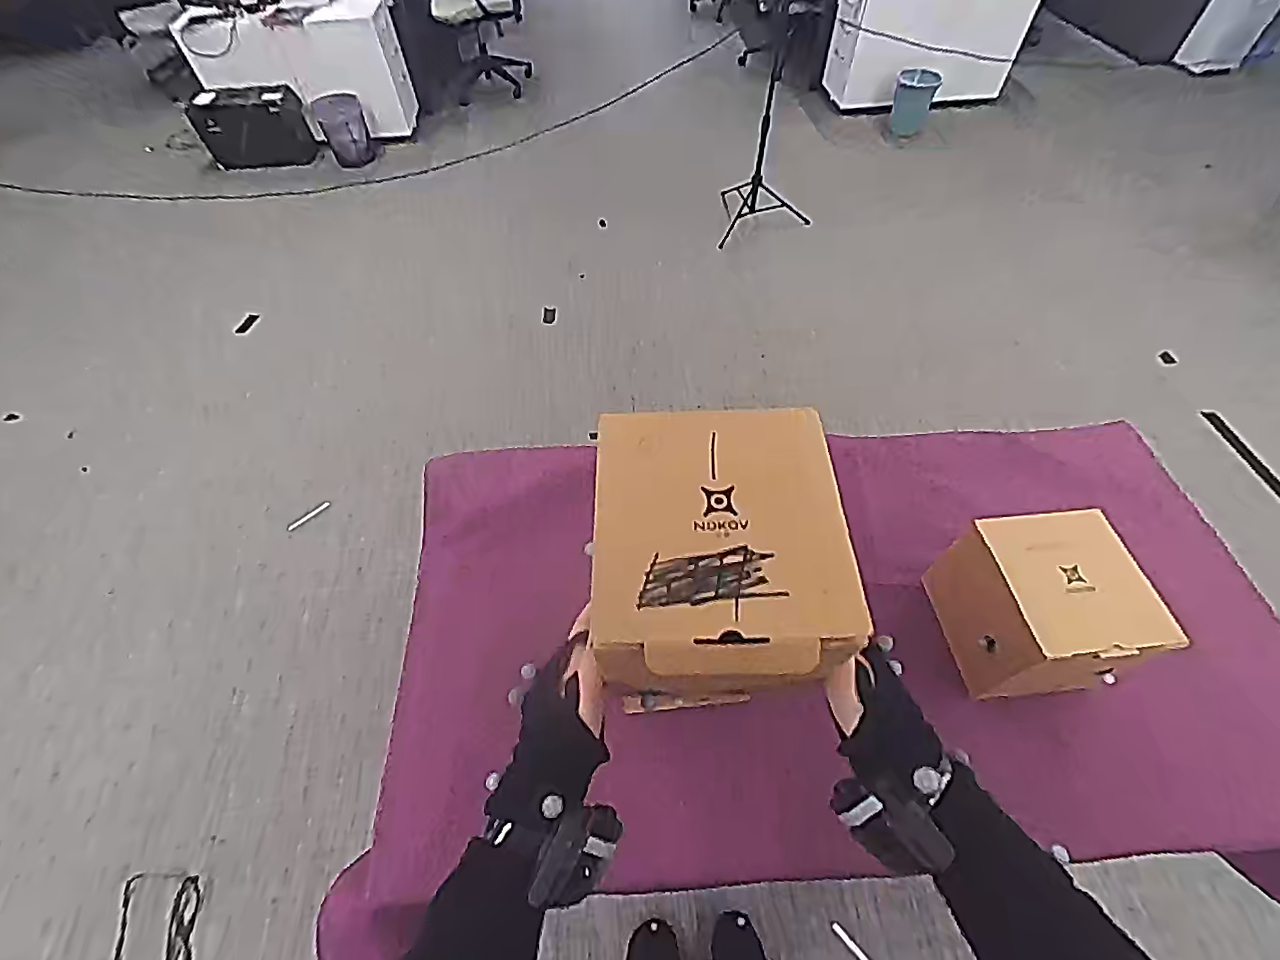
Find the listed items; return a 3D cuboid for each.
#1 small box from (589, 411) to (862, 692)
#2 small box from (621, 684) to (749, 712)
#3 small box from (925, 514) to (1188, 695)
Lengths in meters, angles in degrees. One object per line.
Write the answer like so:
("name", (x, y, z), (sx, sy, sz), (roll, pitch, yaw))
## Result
("small box", (0.054, 0.066, 0.431), (0.168, 0.176, 0.179), (-1, 57, 1))
("small box", (0.053, 0.180, 0.690), (0.168, 0.176, 0.179), (-5, 55, -3))
("small box", (0.502, 0.164, 0.688), (0.168, 0.176, 0.179), (-4, 54, -2))
